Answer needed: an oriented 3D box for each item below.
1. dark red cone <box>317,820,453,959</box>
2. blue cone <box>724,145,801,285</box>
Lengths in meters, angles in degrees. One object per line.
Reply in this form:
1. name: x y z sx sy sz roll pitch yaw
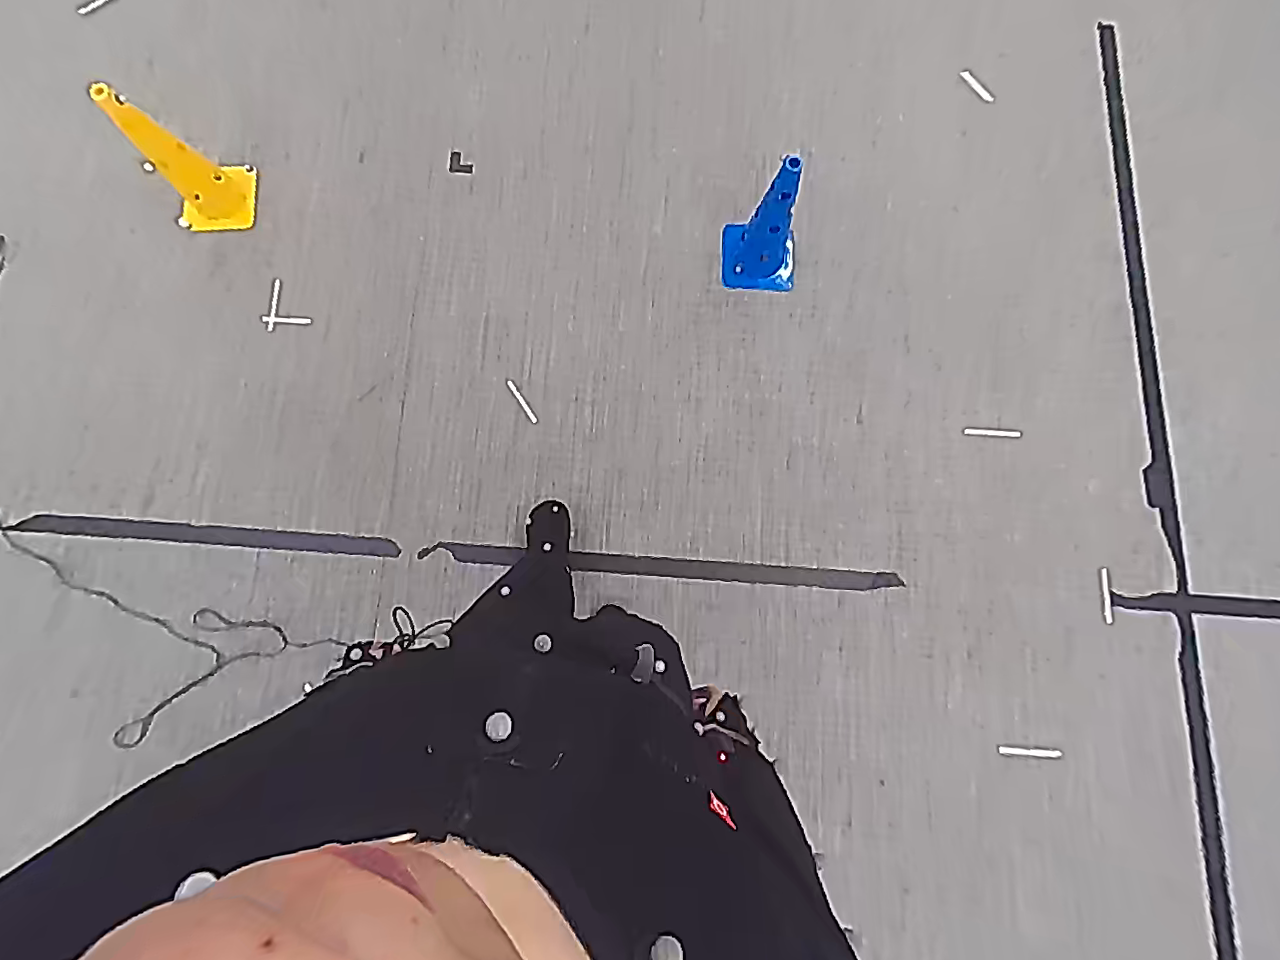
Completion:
1. dark red cone: -0.519 0.848 1.055 0.202 0.394 0.201 -4 79 -1
2. blue cone: 0.331 -0.665 1.350 0.193 0.380 0.192 4 79 0
